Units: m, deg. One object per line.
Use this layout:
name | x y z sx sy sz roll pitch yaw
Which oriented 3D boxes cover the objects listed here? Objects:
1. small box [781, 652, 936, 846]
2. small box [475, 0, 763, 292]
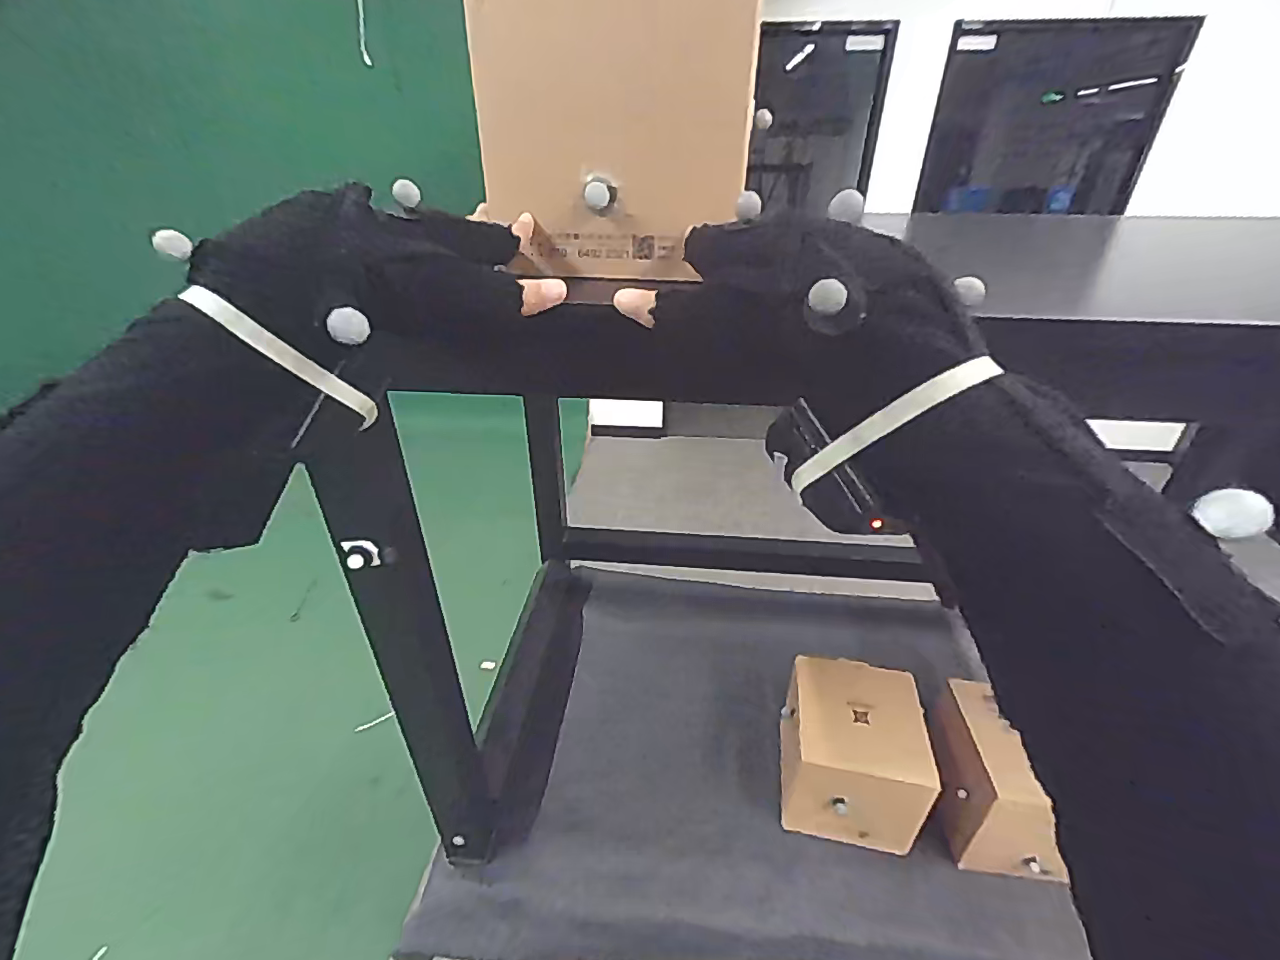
small box | 0.298 0.382 0.774 0.168 0.176 0.179 6 31 10
small box | -0.004 -0.246 0.397 0.168 0.176 0.179 5 32 7
